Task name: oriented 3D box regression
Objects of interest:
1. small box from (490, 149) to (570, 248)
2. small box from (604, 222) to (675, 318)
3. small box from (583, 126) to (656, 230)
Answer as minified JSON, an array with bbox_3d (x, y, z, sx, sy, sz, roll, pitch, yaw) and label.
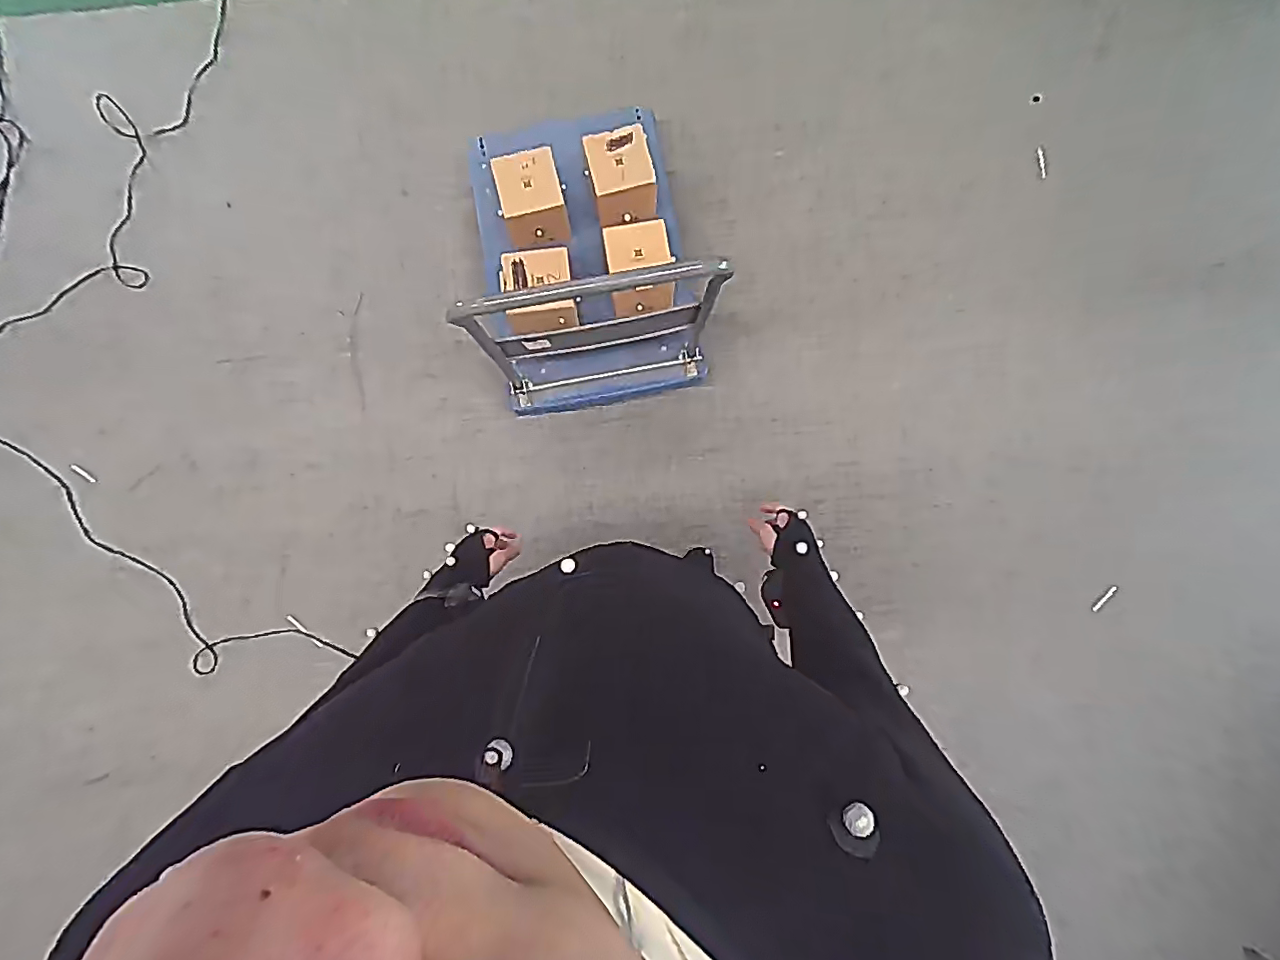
[{"bbox_3d":[-0.298,-0.770,1.504,0.168,0.176,0.179,-14,84,-2],"label":"small box"},{"bbox_3d":[-0.004,-0.570,1.481,0.168,0.176,0.179,-10,84,-1],"label":"small box"},{"bbox_3d":[-0.055,-0.835,1.508,0.168,0.176,0.179,-14,85,0],"label":"small box"}]
